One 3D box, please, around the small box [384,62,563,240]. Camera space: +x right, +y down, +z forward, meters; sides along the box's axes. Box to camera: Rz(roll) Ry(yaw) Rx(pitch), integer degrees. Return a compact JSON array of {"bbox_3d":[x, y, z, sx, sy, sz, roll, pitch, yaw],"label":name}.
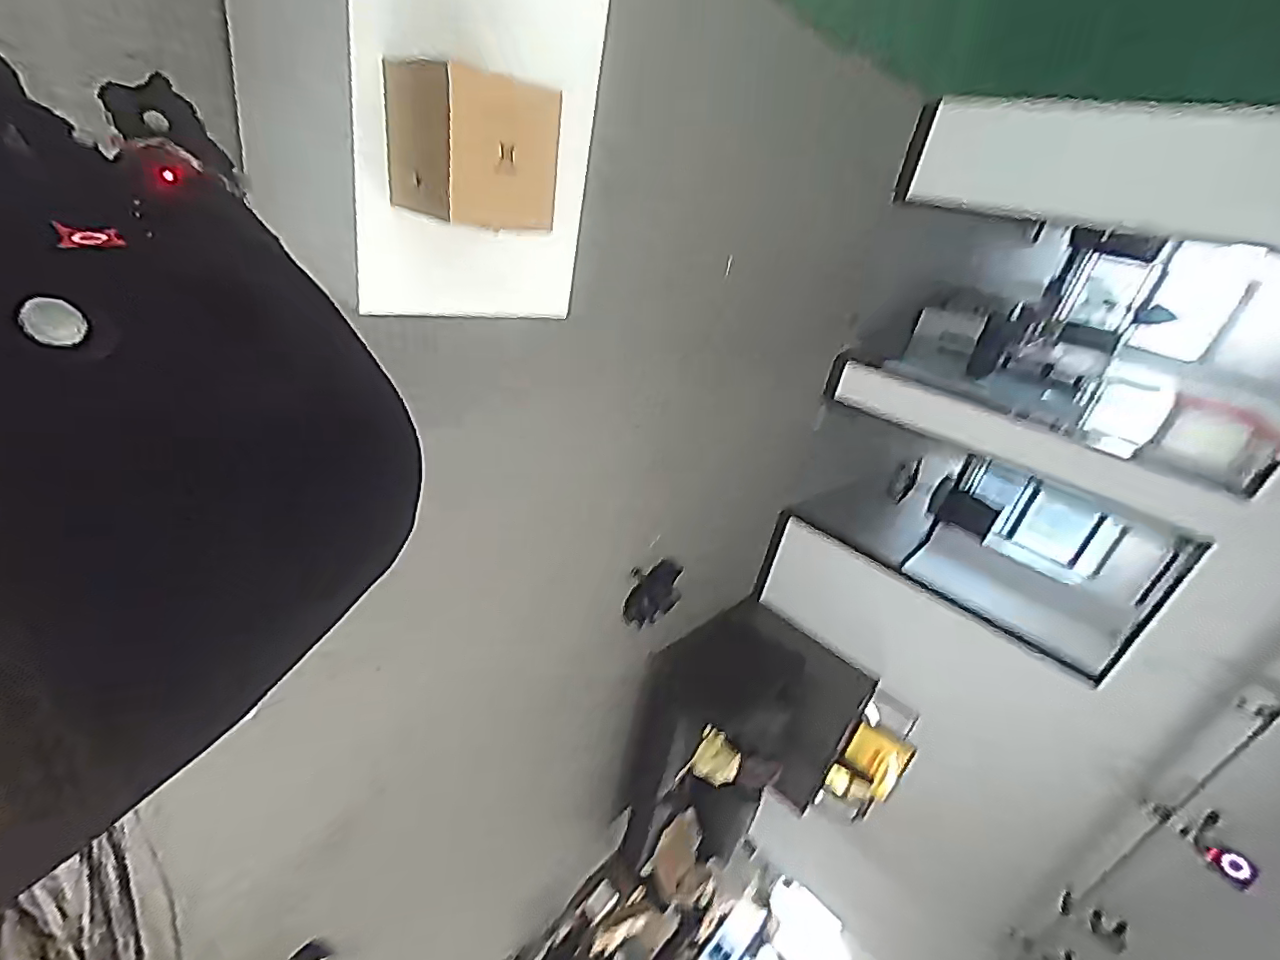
[{"bbox_3d":[-0.226,-0.436,0.730,0.168,0.176,0.179,-21,130,-43],"label":"small box"}]
